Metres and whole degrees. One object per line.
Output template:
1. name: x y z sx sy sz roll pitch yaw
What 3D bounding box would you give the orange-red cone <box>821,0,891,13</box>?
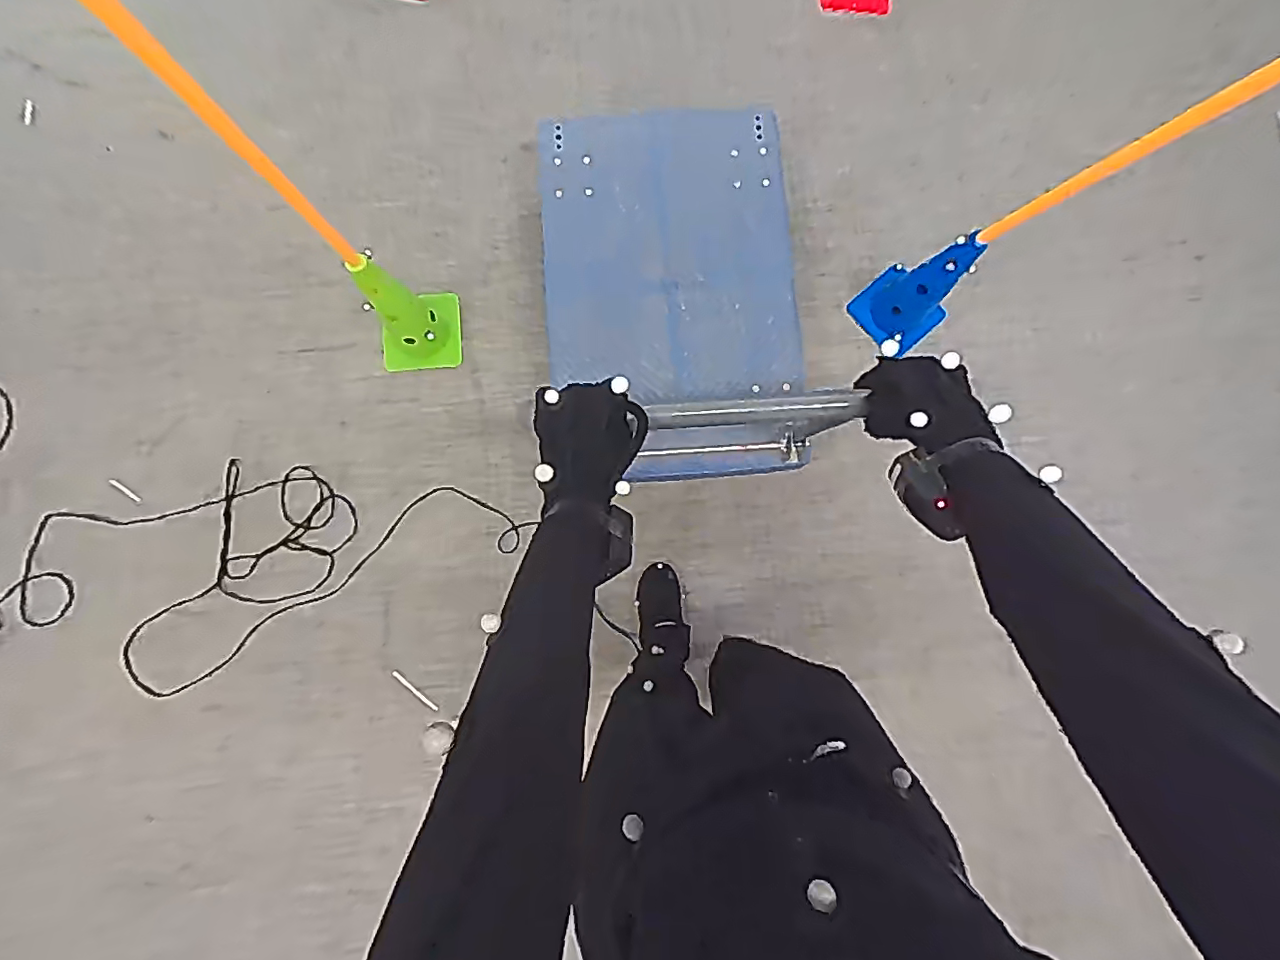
1. orange-red cone: 0.616 -1.436 1.362 0.198 0.360 0.199 7 84 1
